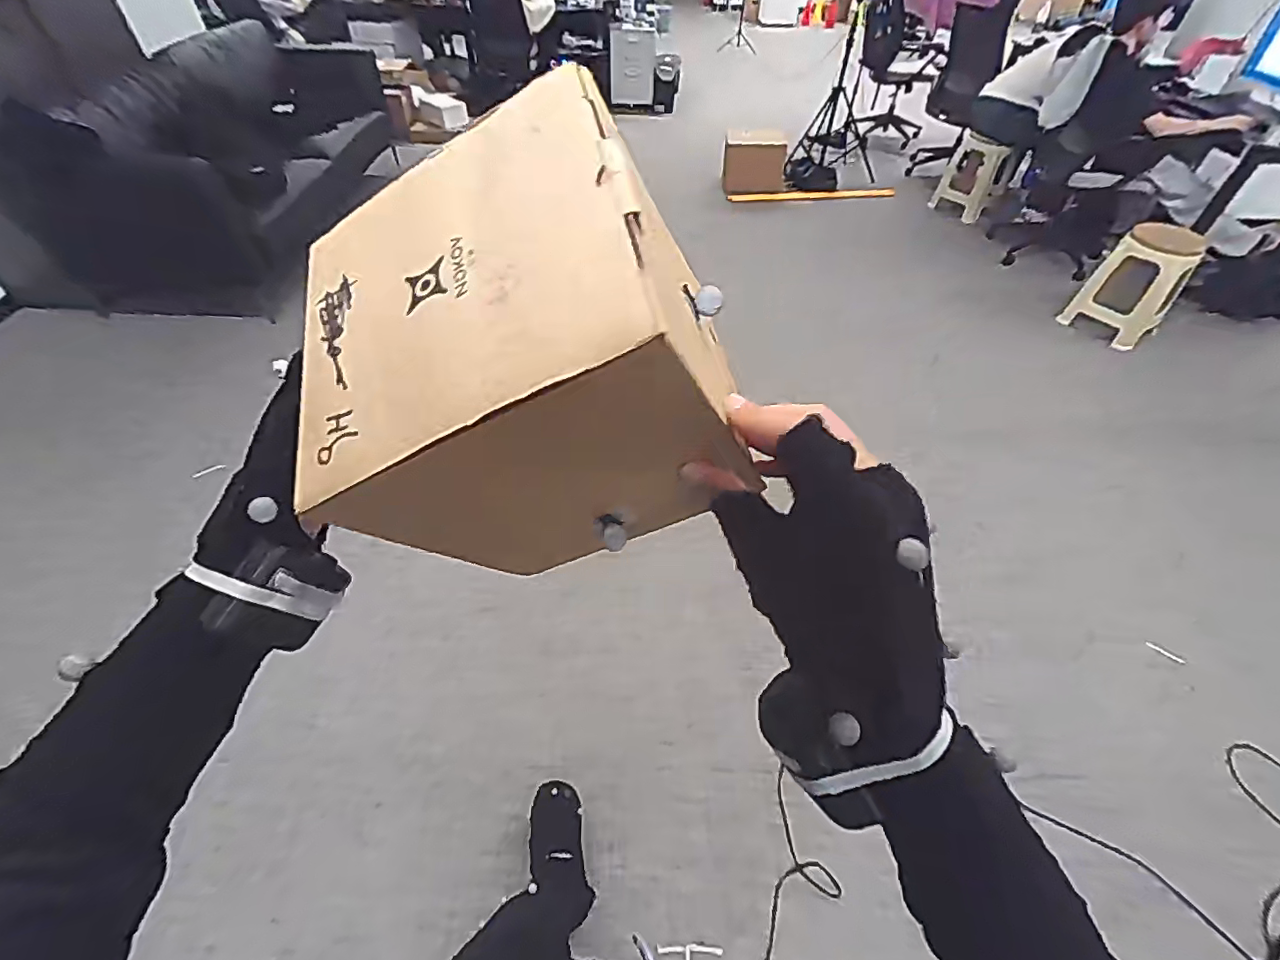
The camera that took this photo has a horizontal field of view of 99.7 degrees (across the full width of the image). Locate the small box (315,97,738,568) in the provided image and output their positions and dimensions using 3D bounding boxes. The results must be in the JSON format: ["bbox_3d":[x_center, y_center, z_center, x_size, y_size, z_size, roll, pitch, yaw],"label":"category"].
[{"bbox_3d":[-0.052,-0.060,0.320,0.179,0.176,0.168,-21,64,17],"label":"small box"}]
